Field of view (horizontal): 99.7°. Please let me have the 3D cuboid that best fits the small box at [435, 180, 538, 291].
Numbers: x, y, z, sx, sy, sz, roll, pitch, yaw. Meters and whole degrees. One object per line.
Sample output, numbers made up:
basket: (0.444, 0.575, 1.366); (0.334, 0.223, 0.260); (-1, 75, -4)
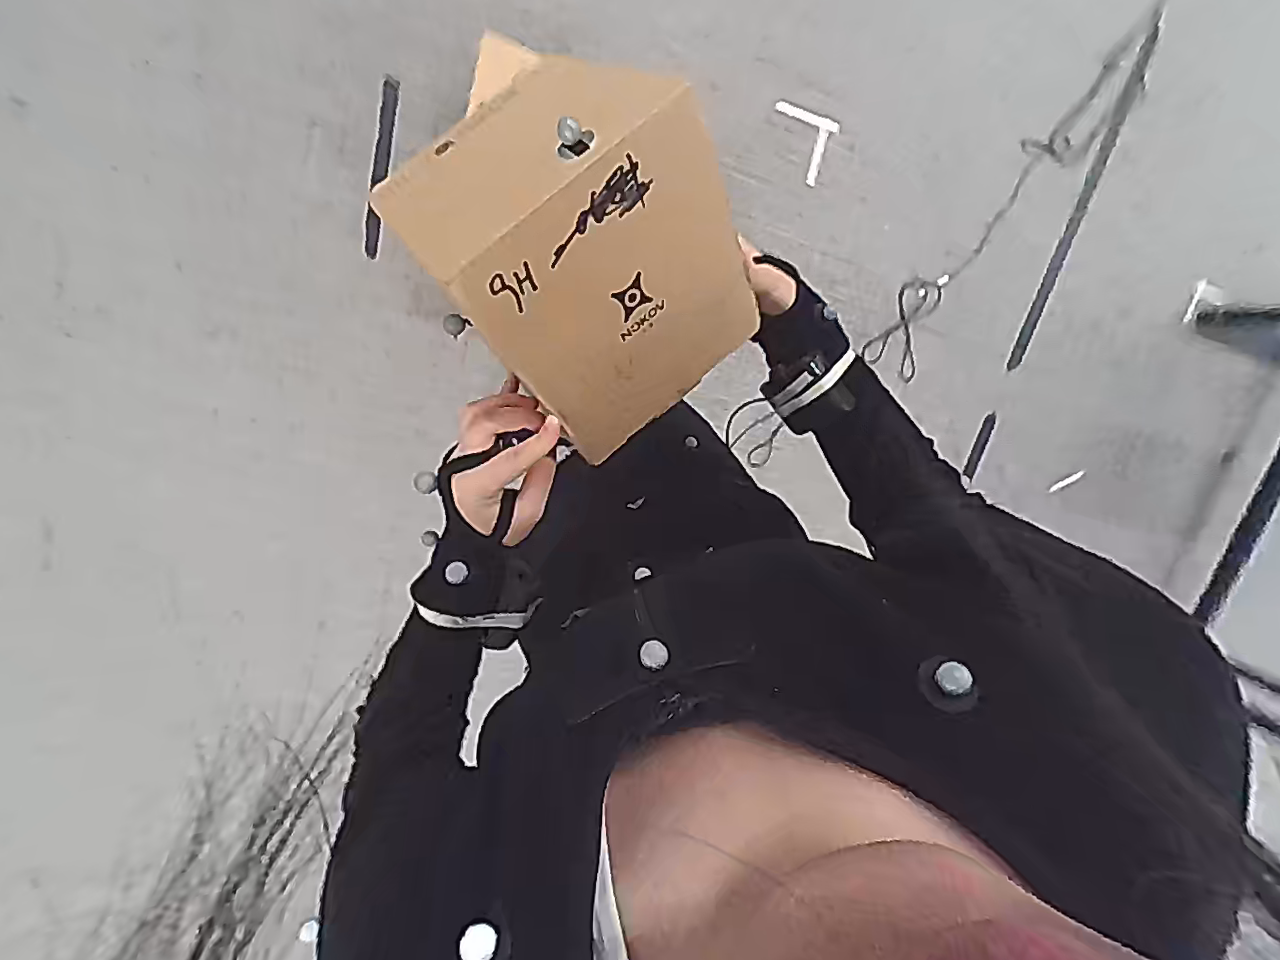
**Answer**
small box: (-0.334, -0.522, 1.185); (0.179, 0.176, 0.168); (14, 102, -18)
